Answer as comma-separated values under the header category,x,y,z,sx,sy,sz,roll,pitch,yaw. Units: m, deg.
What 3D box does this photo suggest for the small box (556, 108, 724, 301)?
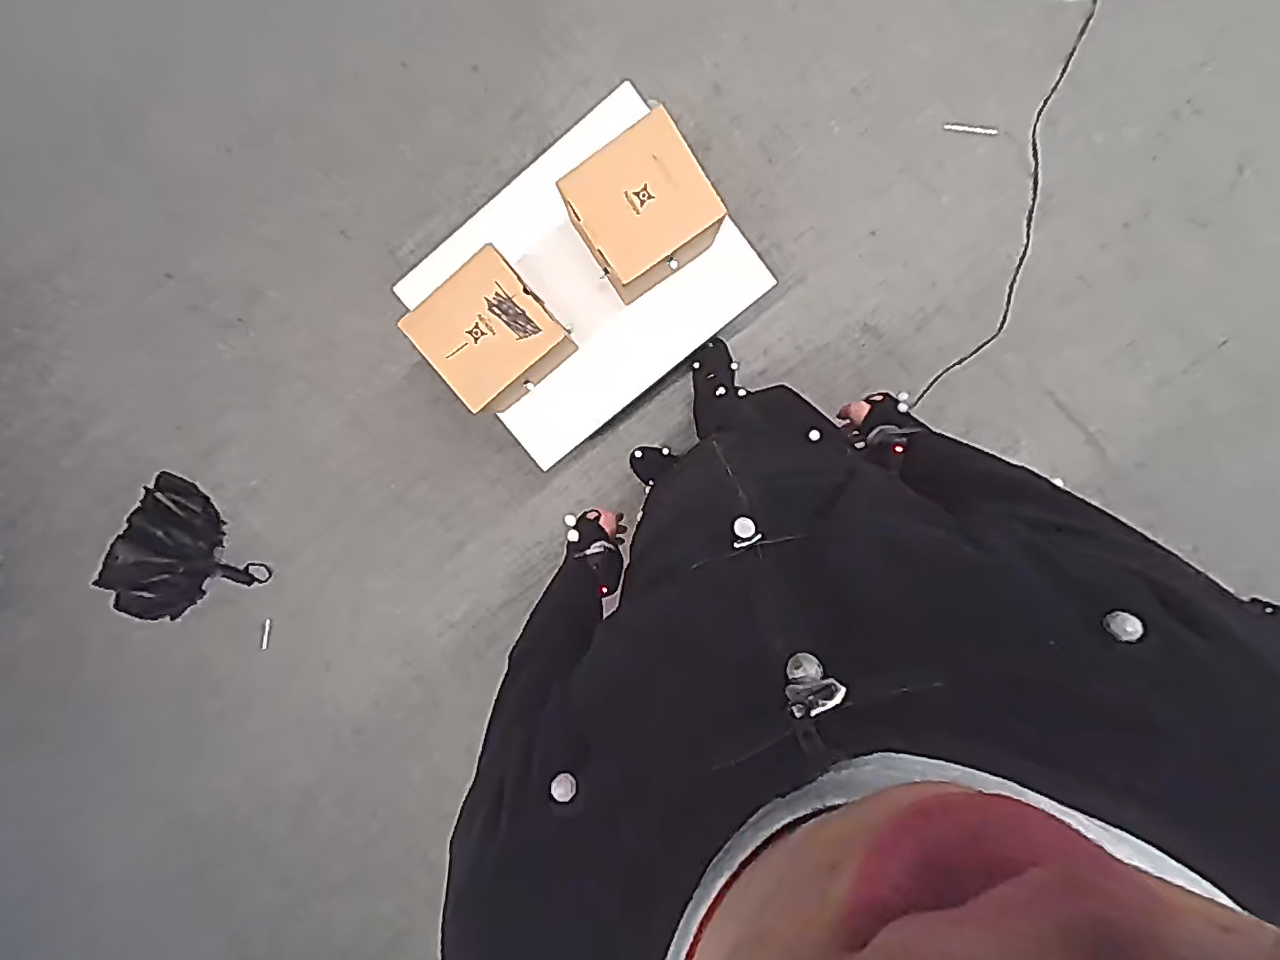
category,x,y,z,sx,sy,sz,roll,pitch,yaw
small box,0.001,-0.391,0.809,0.179,0.176,0.168,-33,98,5
